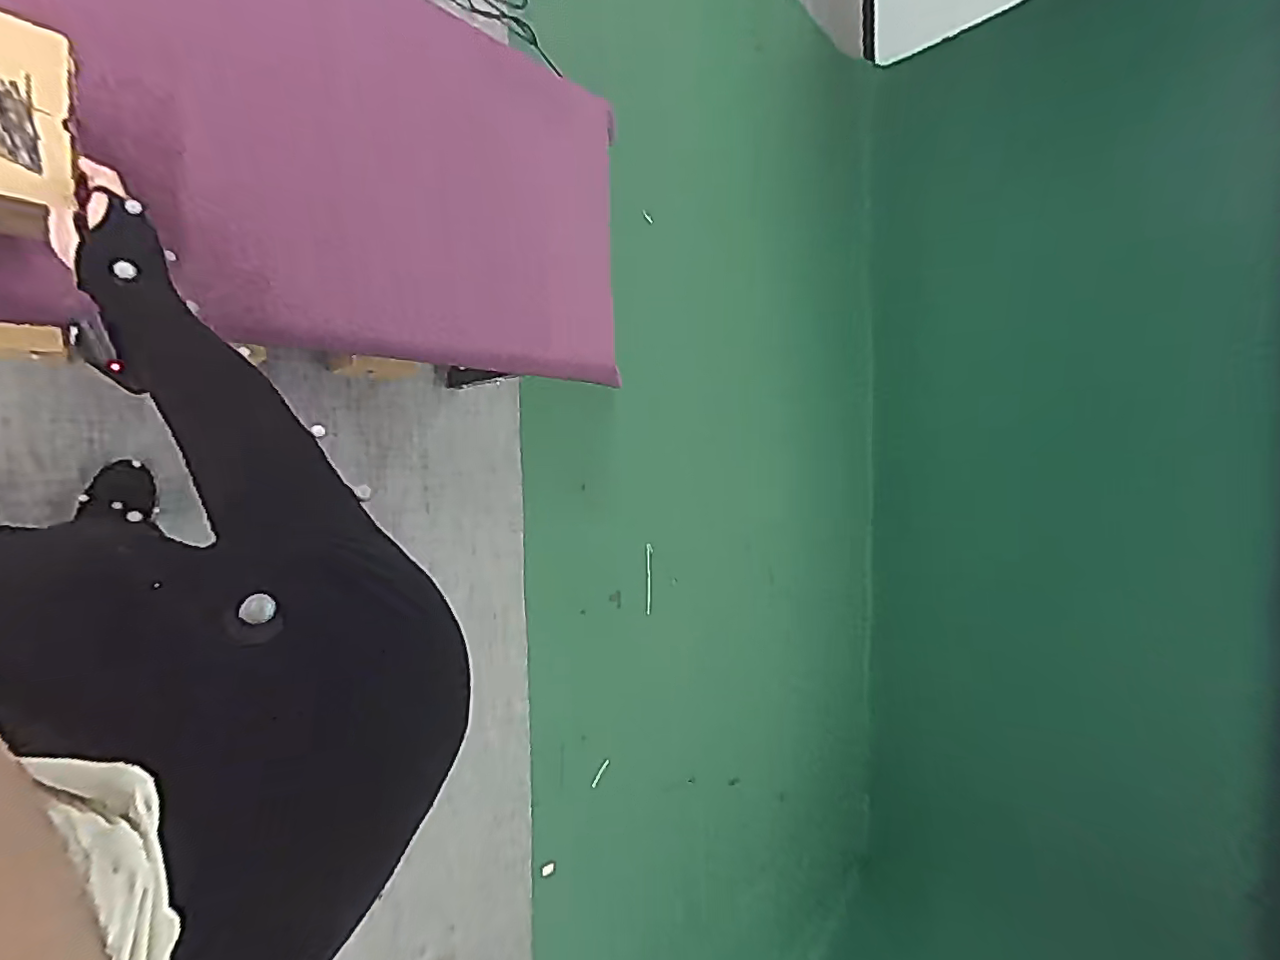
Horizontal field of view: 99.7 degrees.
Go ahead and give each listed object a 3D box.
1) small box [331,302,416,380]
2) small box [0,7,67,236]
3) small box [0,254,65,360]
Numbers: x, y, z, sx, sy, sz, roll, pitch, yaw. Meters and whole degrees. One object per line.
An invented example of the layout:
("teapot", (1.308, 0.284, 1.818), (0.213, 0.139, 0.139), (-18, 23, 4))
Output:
("small box", (-0.739, -0.375, 1.492), (0.179, 0.176, 0.168), (-1, 92, -45))
("small box", (-0.675, -0.352, 0.515), (0.179, 0.176, 0.168), (-2, 94, -45))
("small box", (-1.215, -0.323, 1.012), (0.179, 0.176, 0.168), (-5, 95, -46))
